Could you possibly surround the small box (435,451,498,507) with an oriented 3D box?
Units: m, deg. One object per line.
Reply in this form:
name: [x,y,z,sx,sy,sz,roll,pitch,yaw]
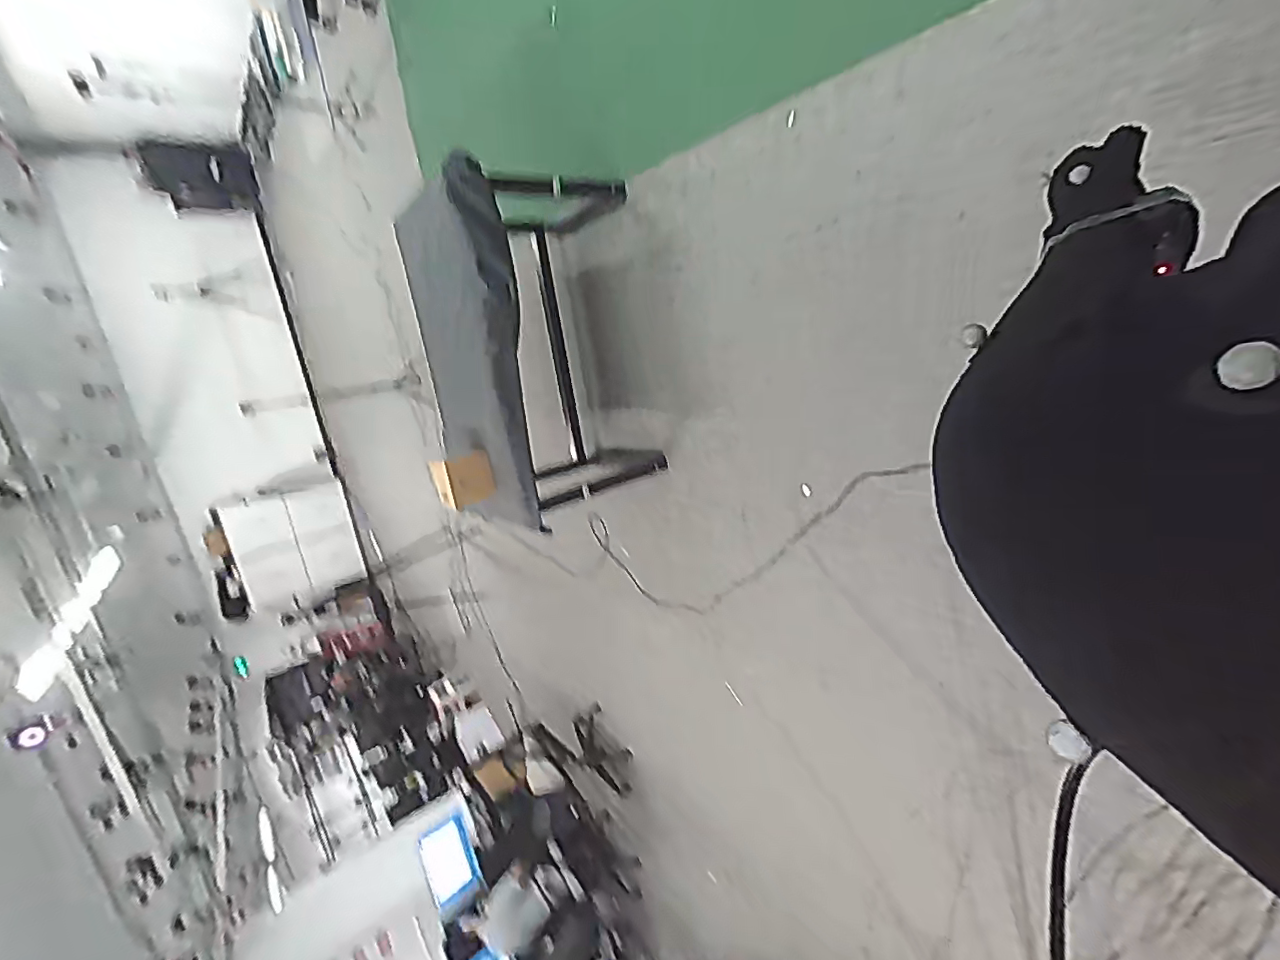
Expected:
small box: [-0.666,-0.009,2.082,0.168,0.176,0.179,5,108,52]
